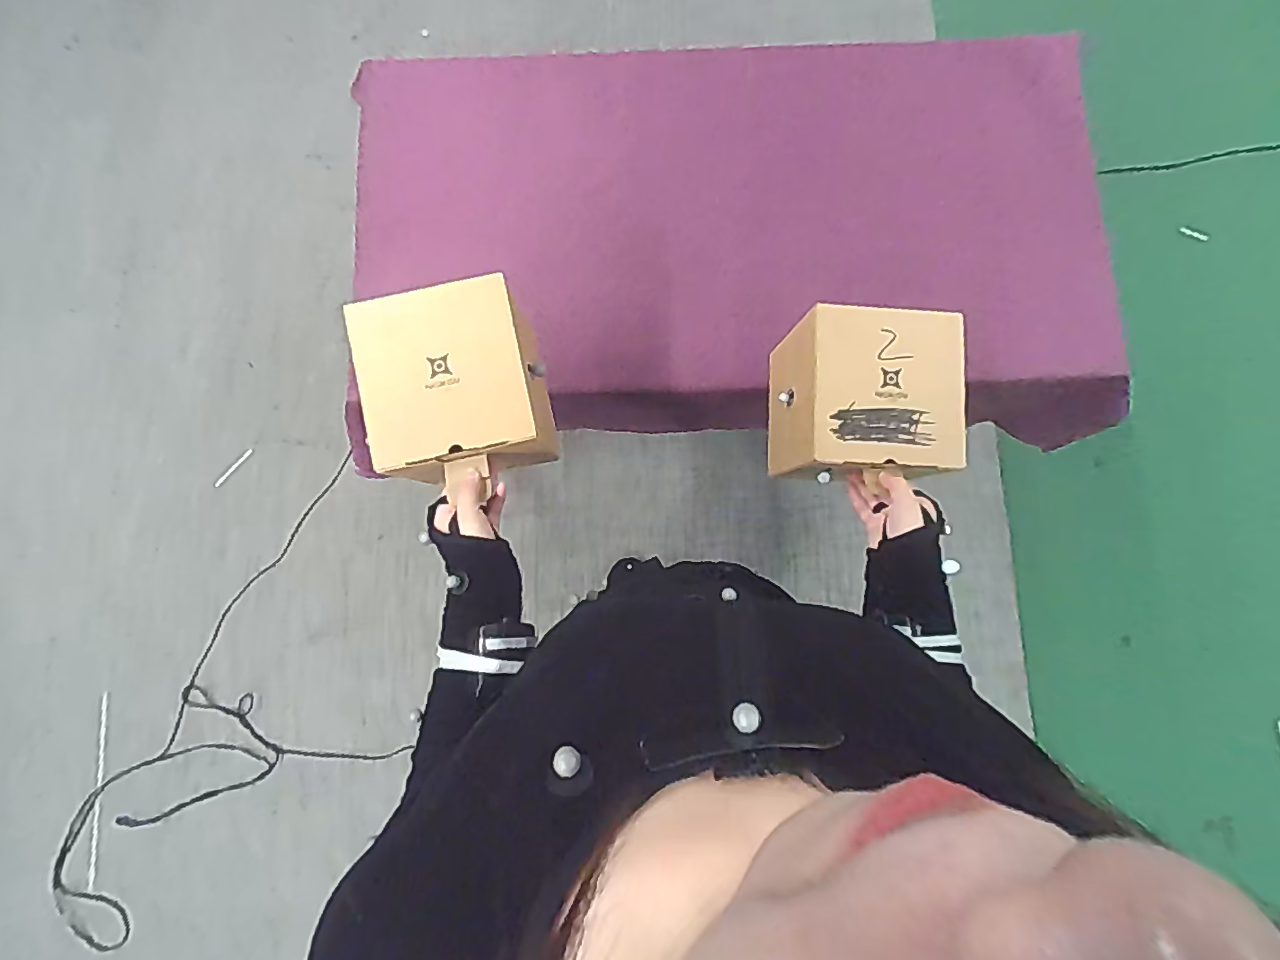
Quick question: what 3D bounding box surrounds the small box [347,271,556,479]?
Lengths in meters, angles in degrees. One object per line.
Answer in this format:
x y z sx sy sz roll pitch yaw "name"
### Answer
-0.199 -0.106 0.615 0.168 0.176 0.179 -12 87 -2 "small box"
